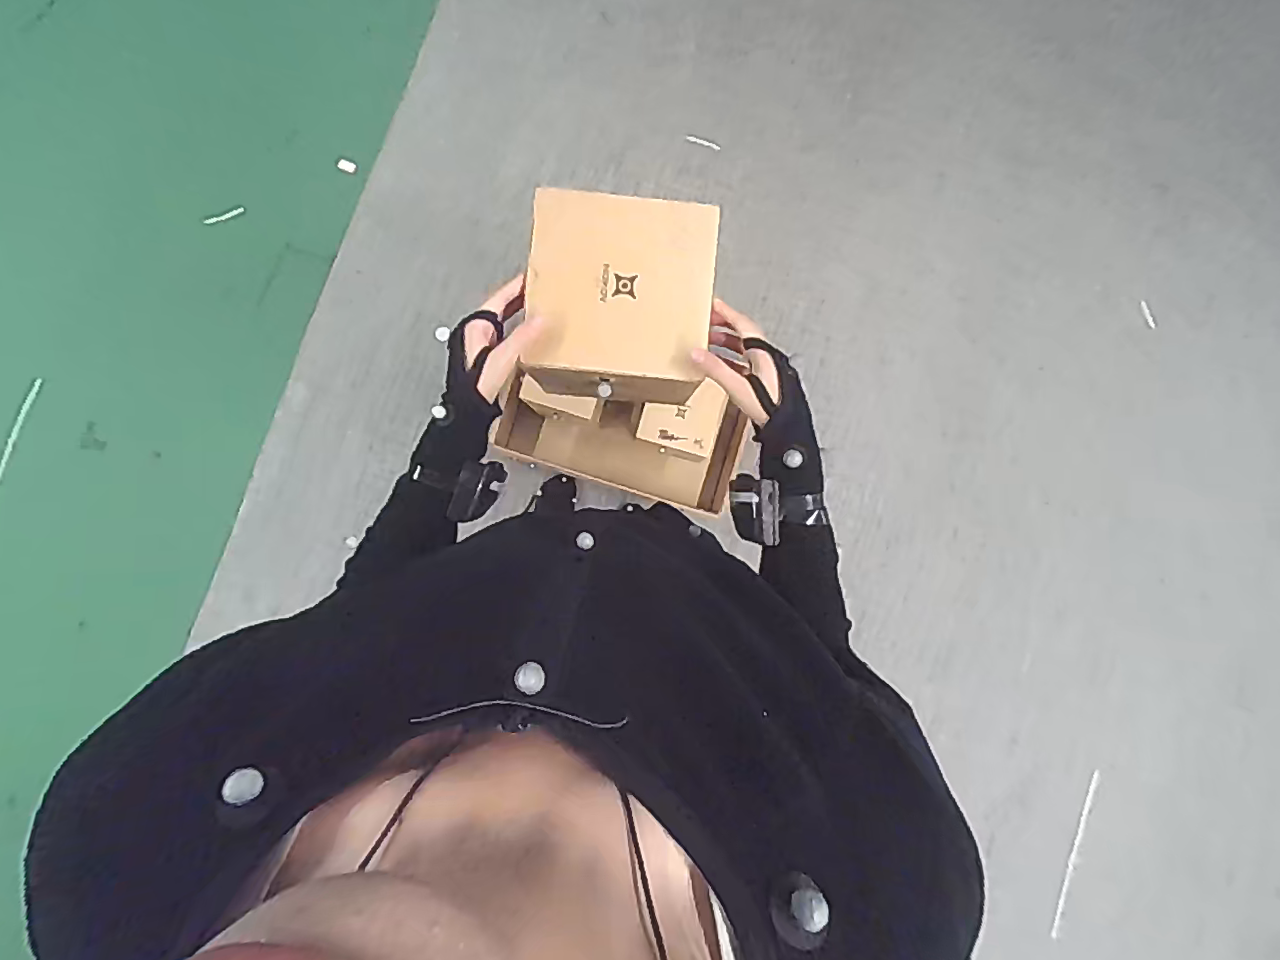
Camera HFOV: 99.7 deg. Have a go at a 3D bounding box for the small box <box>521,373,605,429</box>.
[{"bbox_3d":[-0.158,-0.228,1.252,0.168,0.176,0.179,18,88,-2],"label":"small box"}]

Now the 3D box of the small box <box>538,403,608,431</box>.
[{"bbox_3d":[-0.169,-0.233,1.417,0.179,0.176,0.168,14,88,-3],"label":"small box"}]

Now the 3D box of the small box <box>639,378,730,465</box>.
[{"bbox_3d":[0.094,-0.143,1.253,0.168,0.176,0.179,16,87,0],"label":"small box"}]

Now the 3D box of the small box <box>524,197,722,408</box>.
[{"bbox_3d":[-0.018,-0.176,0.587,0.179,0.176,0.168,5,89,-1],"label":"small box"}]
